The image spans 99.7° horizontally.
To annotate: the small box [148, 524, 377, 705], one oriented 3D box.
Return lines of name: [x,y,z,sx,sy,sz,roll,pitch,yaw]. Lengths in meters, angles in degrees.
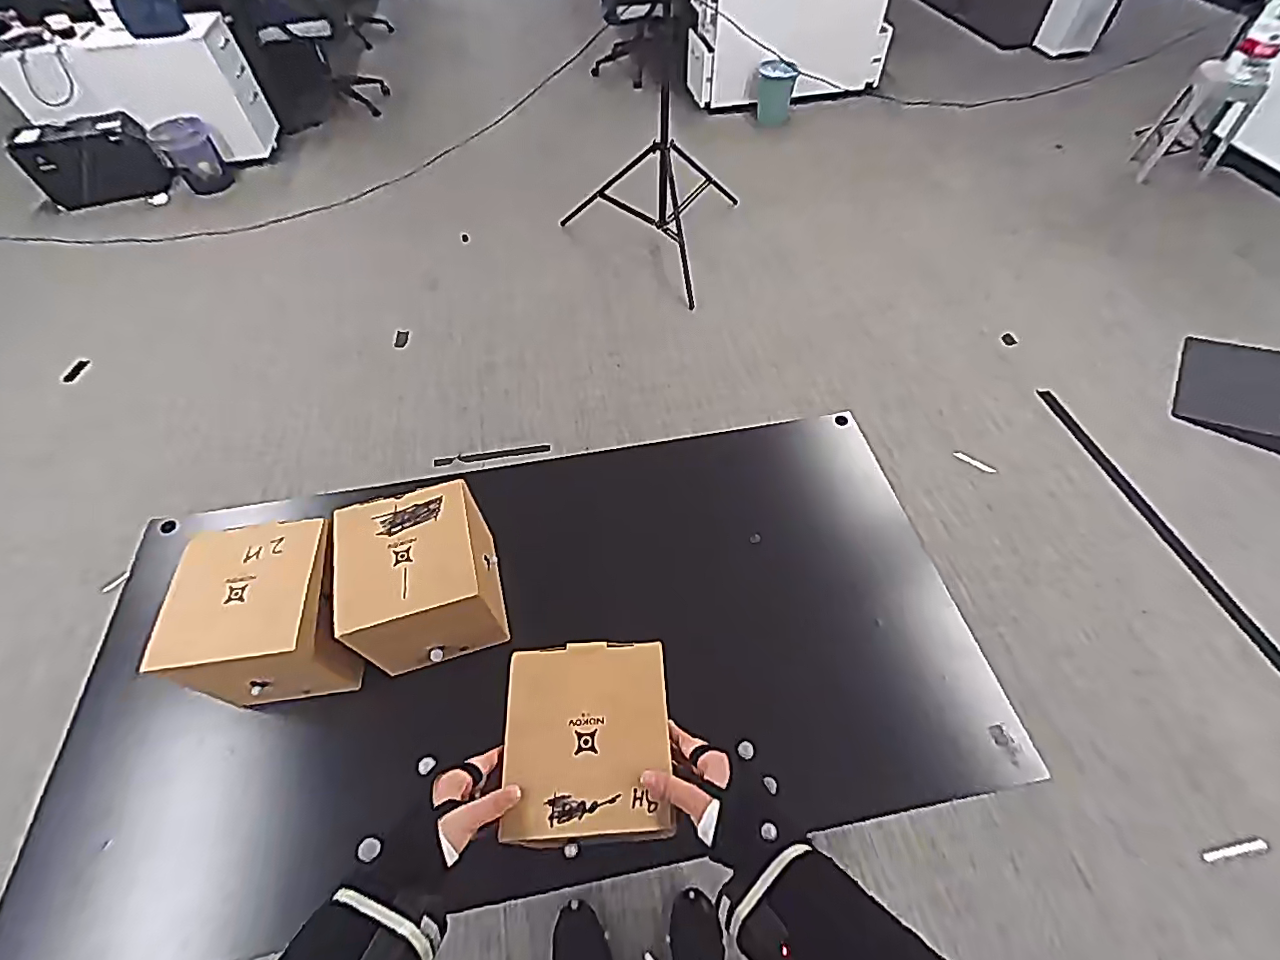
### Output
small box: [-0.468,0.183,0.708,0.168,0.176,0.179,-7,54,-4]

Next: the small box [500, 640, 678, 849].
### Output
small box: [-0.049,0.299,0.606,0.168,0.176,0.179,-5,53,0]
